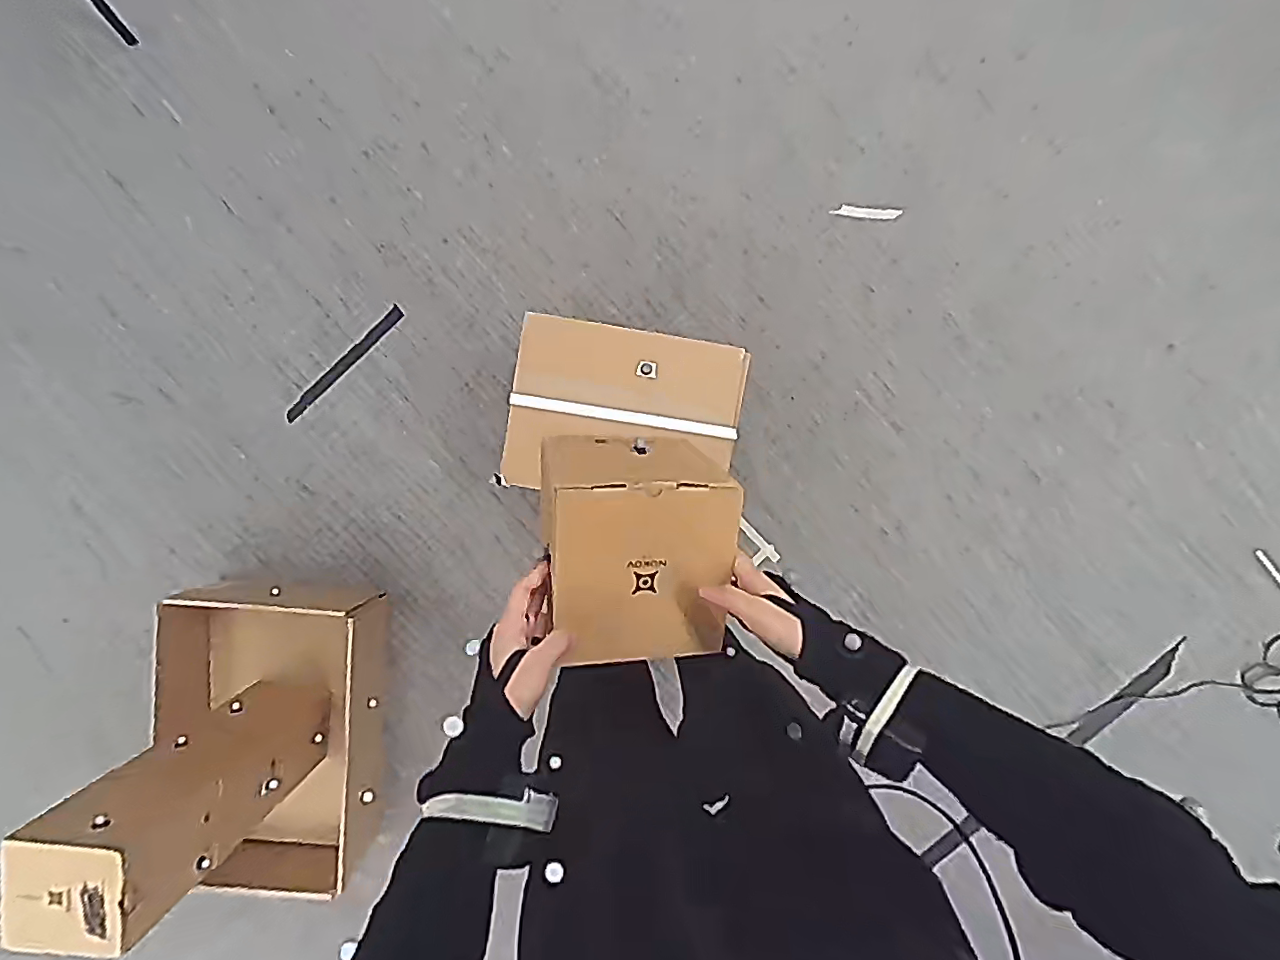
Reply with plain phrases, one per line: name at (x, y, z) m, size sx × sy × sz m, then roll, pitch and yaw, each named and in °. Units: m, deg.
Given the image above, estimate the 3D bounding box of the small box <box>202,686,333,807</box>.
small box at (-0.800, 0.563, 1.164) m, size 0.179 × 0.176 × 0.168 m, roll 8°, pitch 94°, yaw -1°

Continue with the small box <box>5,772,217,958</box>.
small box at (-0.802, 0.582, 0.837) m, size 0.179 × 0.176 × 0.168 m, roll 5°, pitch 94°, yaw 0°

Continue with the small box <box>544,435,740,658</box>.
small box at (-0.012, 0.058, 0.562) m, size 0.168 × 0.176 × 0.179 m, roll 0°, pitch 107°, yaw -12°

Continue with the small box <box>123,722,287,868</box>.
small box at (-0.799, 0.571, 1.002) m, size 0.179 × 0.176 × 0.168 m, roll 6°, pitch 94°, yaw -2°
